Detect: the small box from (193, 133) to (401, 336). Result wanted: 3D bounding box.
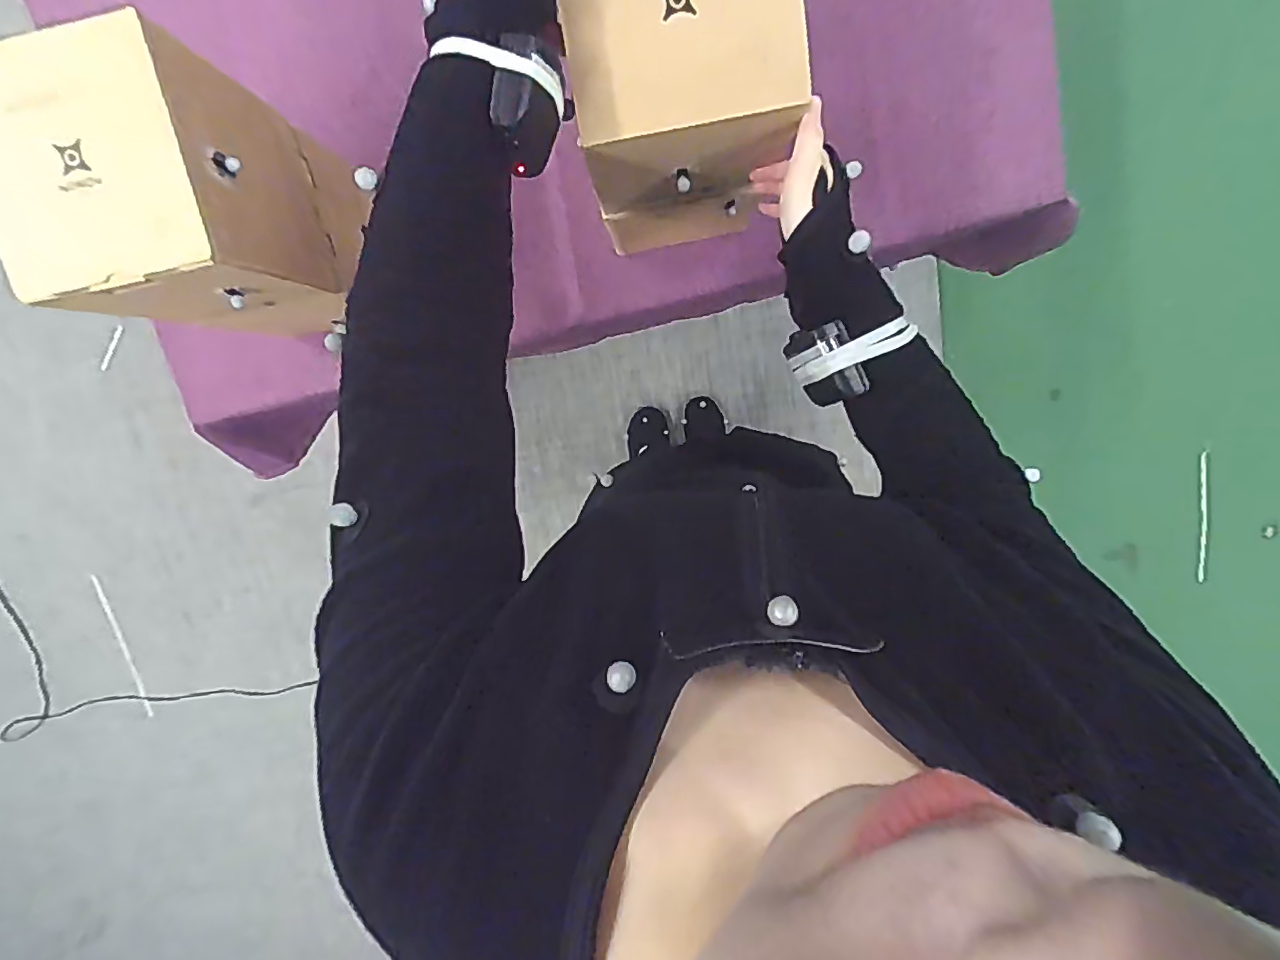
[{"bbox_3d":[-0.410,-0.274,0.645,0.179,0.176,0.168,-11,100,4],"label":"small box"}]

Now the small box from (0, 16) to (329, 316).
[{"bbox_3d":[-0.416,-0.250,0.484,0.168,0.176,0.179,-9,100,4],"label":"small box"}]

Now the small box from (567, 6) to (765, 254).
[{"bbox_3d":[0.031,-0.370,0.609,0.179,0.176,0.168,-10,100,4],"label":"small box"}]
